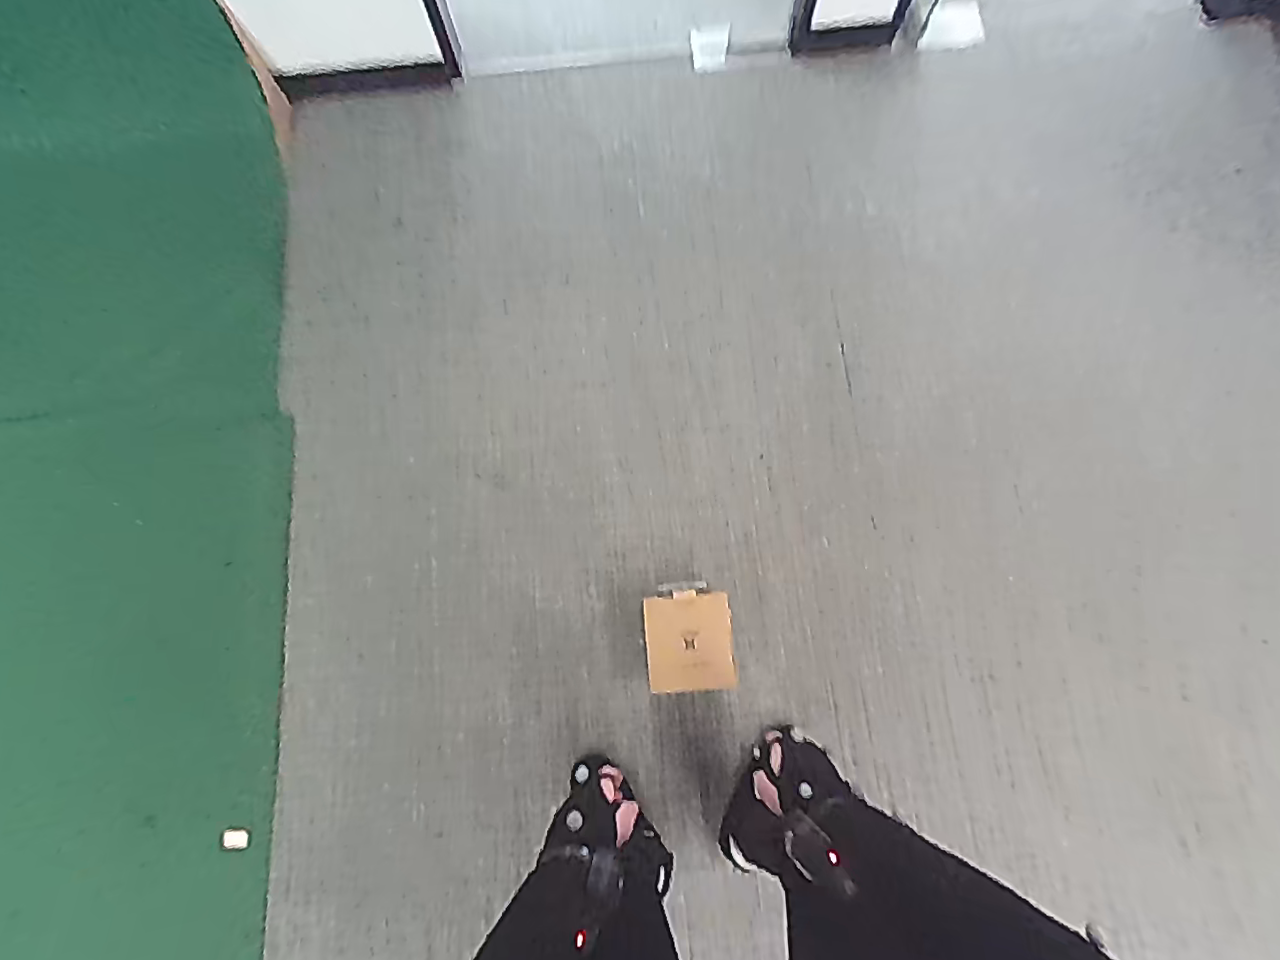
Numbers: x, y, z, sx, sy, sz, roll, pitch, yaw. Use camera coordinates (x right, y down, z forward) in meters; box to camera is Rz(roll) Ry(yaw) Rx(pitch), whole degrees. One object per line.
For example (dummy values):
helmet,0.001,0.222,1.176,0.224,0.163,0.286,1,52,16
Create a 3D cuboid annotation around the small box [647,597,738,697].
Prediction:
small box,0.099,0.330,1.084,0.168,0.176,0.179,-3,77,2
